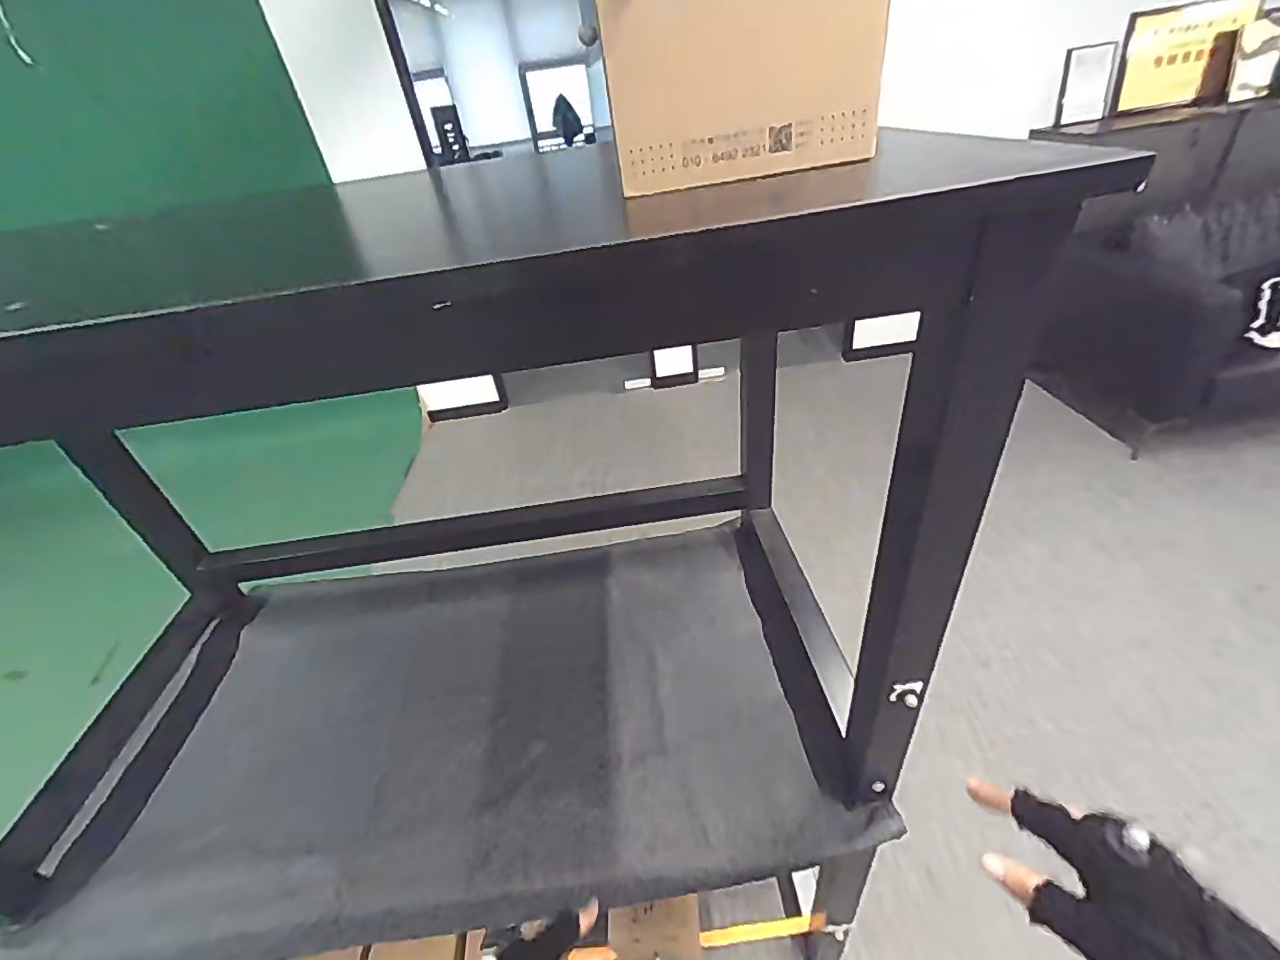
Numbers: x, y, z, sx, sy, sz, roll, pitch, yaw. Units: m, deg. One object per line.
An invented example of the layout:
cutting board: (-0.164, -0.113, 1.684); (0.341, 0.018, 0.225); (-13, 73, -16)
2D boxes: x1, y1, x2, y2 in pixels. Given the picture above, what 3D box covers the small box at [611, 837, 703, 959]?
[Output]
small box: (0.038, 0.865, 1.110); (0.168, 0.176, 0.179); (-6, 37, 5)
